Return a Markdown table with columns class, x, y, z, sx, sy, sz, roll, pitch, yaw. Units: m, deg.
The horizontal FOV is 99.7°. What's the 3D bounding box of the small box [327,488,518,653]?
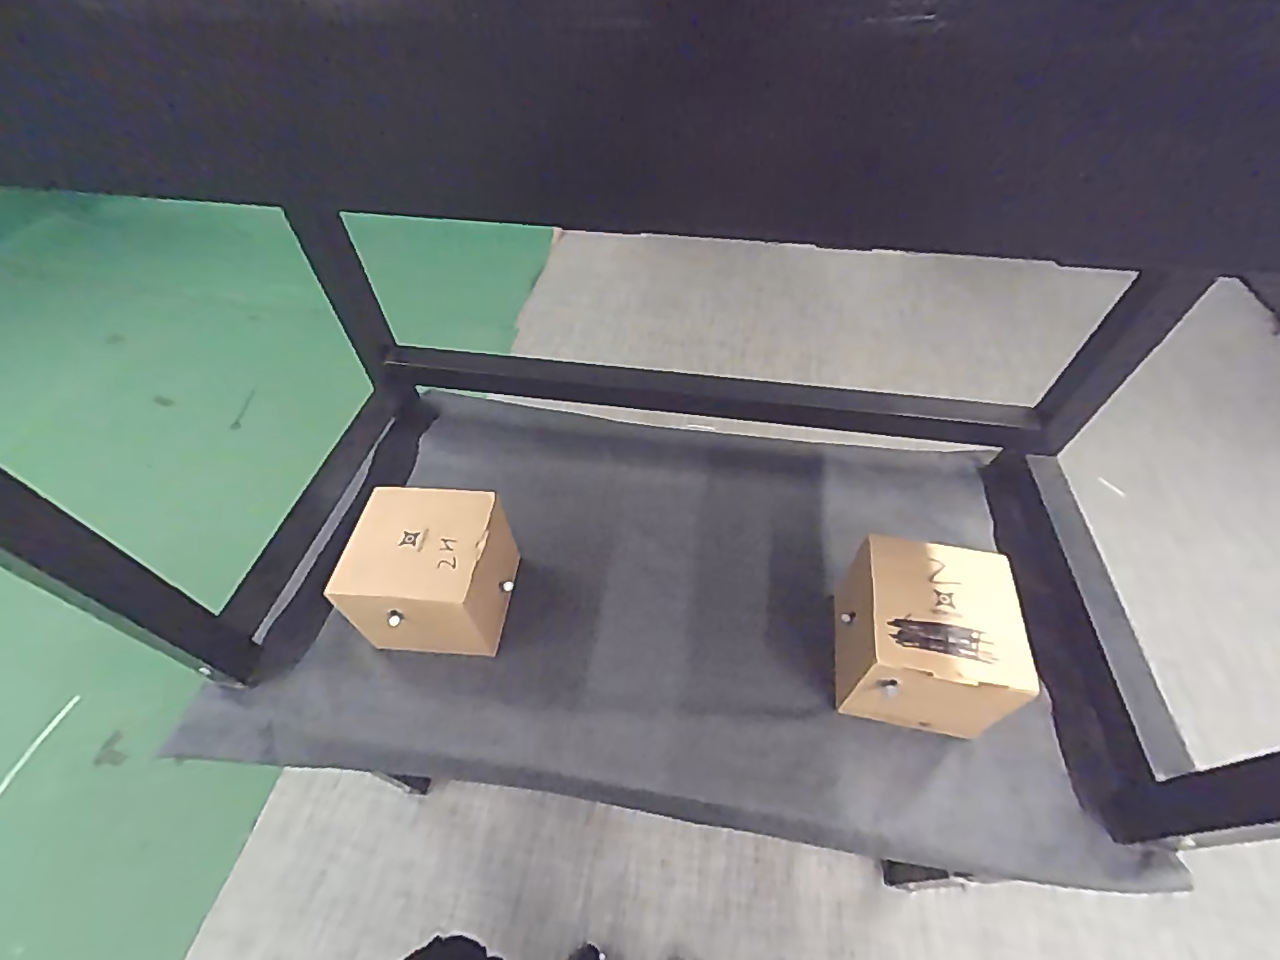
| class | x | y | z | sx | sy | sz | roll | pitch | yaw |
| --- | --- | --- | --- | --- | --- | --- | --- | --- | --- |
| small box | -0.285 | 0.130 | 0.756 | 0.179 | 0.176 | 0.168 | 3 | 52 | 3 |
